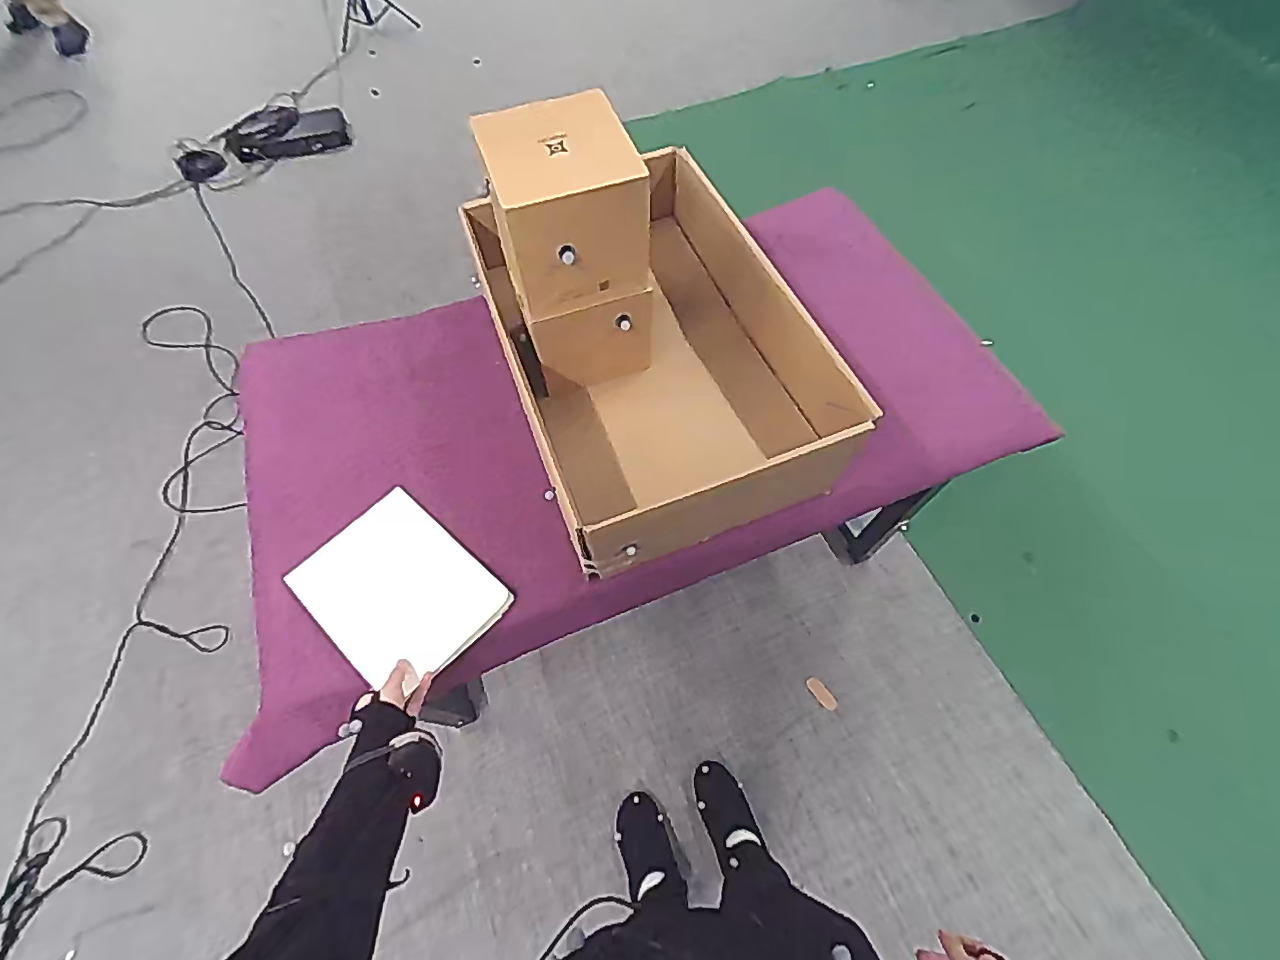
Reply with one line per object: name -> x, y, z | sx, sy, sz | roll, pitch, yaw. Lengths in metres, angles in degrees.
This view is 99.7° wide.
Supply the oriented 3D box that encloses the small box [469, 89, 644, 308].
small box -> -0.096, -0.342, 0.683 | 0.168, 0.176, 0.179 | -18, 64, -8
